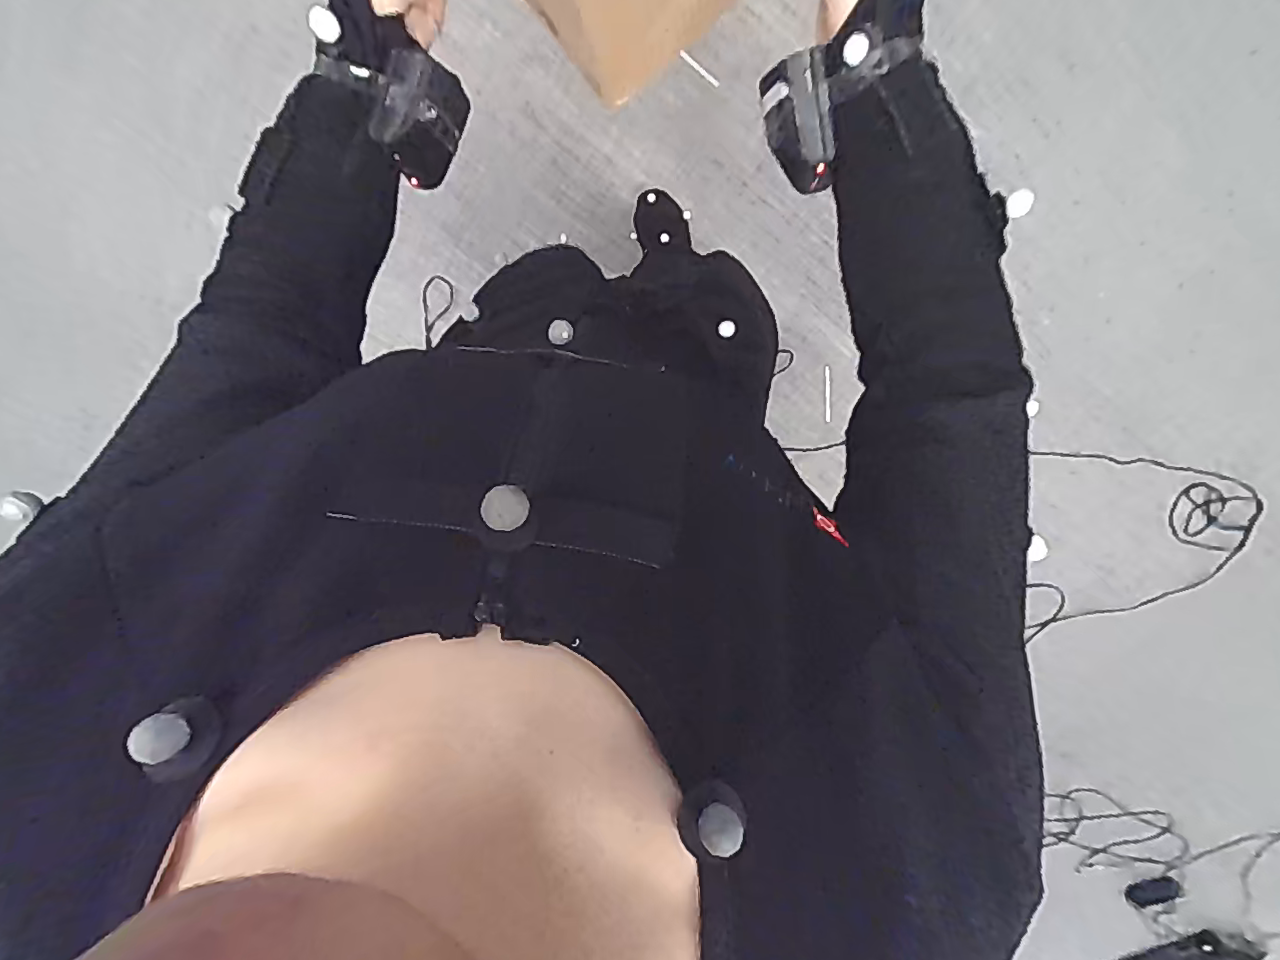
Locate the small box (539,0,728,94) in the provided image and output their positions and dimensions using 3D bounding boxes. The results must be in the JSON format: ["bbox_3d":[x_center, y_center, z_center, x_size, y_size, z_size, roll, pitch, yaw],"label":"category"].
[{"bbox_3d":[-0.012,-0.365,0.285,0.179,0.176,0.168,-39,91,10],"label":"small box"}]
